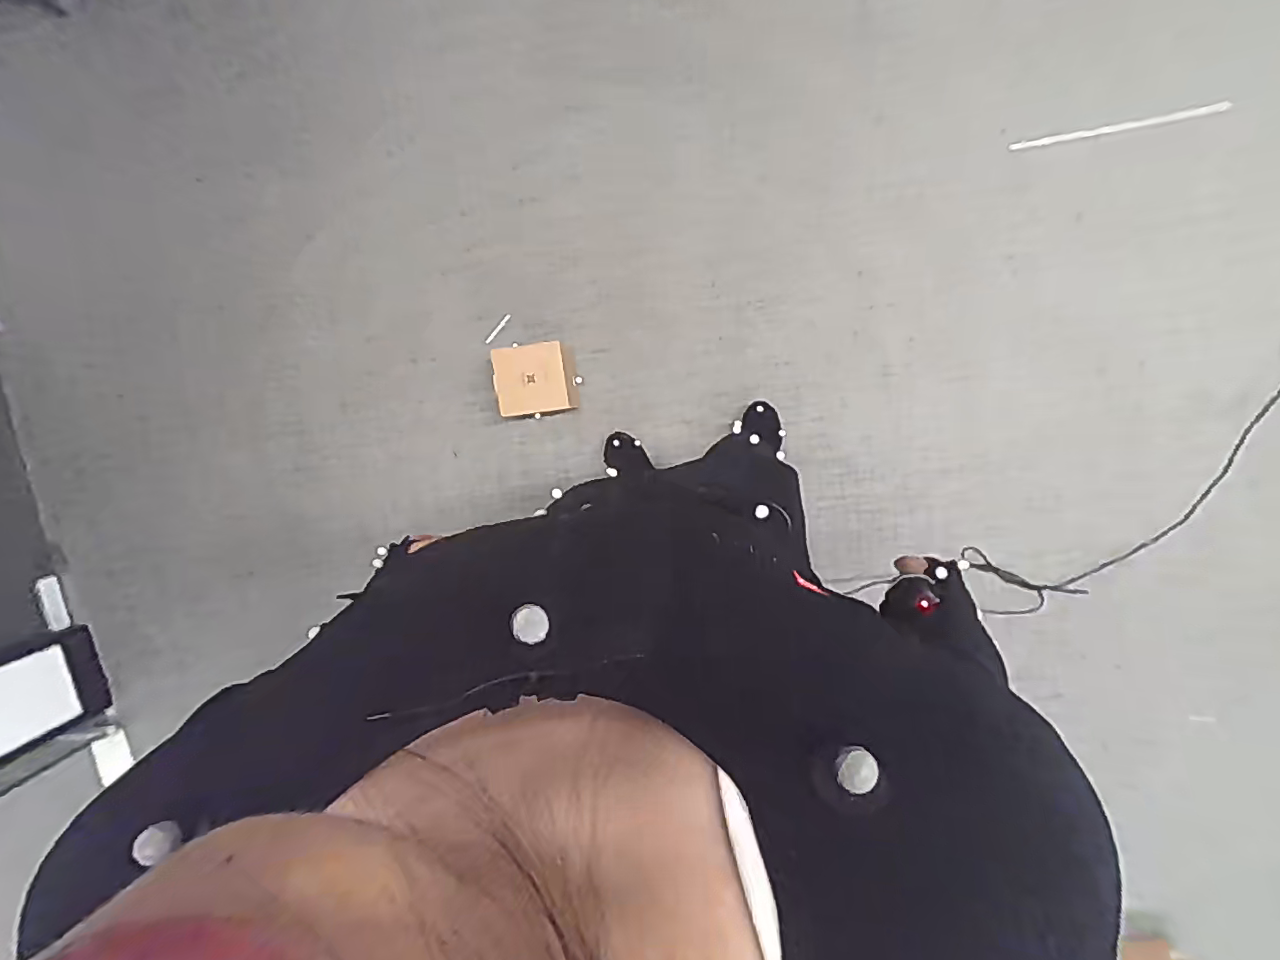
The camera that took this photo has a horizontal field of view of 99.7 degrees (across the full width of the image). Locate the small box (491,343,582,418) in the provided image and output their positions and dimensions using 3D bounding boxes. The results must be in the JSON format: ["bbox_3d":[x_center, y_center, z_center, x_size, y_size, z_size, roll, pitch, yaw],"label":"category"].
[{"bbox_3d":[-0.260,-0.253,1.394,0.179,0.176,0.168,-7,99,5],"label":"small box"}]
